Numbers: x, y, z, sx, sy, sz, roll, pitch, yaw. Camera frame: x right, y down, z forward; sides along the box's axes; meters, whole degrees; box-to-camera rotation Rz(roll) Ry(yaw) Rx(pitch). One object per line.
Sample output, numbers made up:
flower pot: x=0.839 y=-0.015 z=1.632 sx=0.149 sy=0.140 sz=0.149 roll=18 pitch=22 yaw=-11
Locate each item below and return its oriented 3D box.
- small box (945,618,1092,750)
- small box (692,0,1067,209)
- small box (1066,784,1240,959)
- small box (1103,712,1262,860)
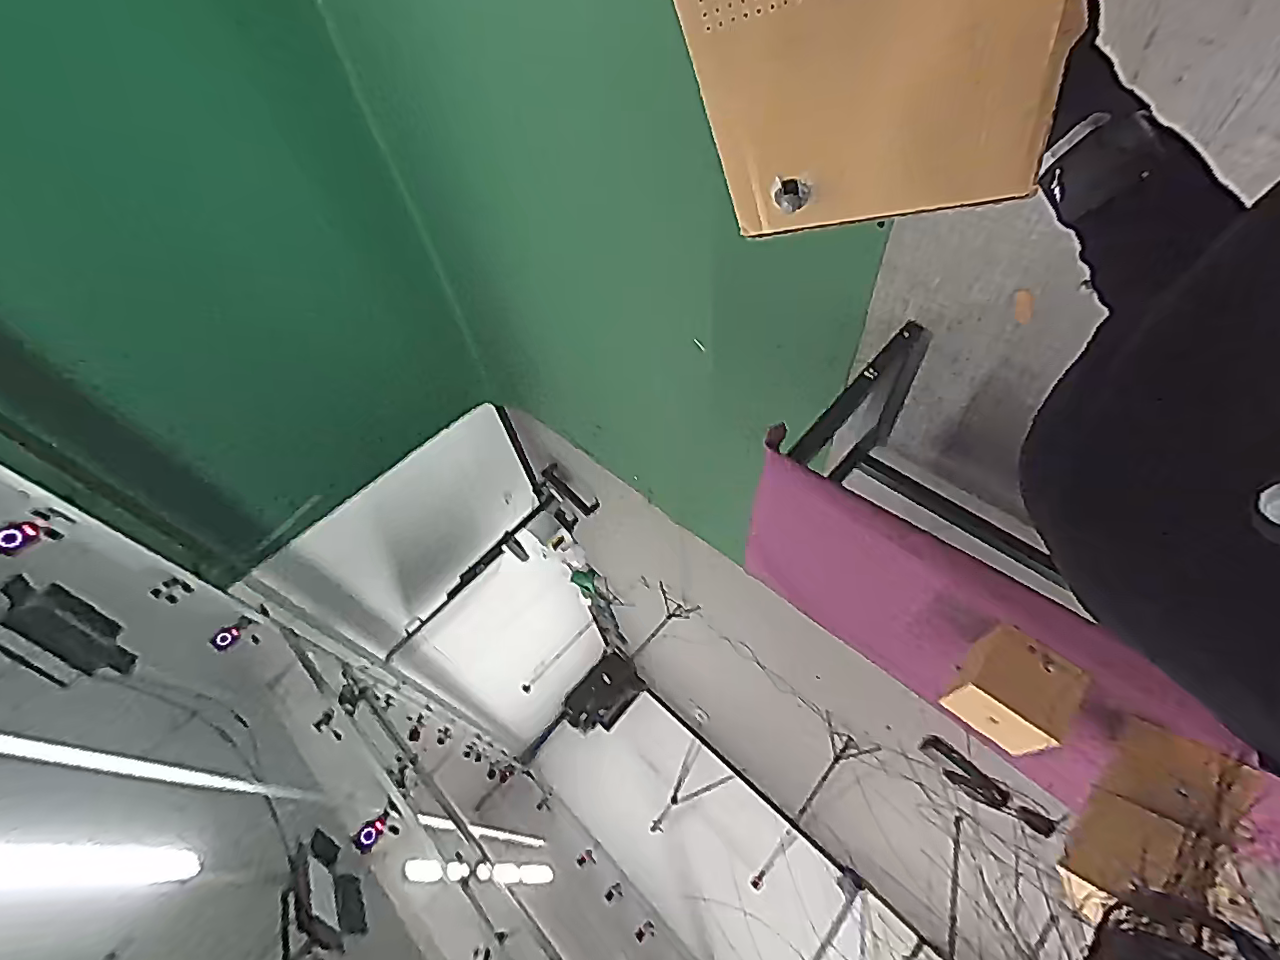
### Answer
small box: x=0.772 y=0.417 z=1.107 sx=0.168 sy=0.176 sz=0.179 roll=34 pitch=156 yaw=25
small box: x=0.134 y=-0.291 z=0.301 sx=0.179 sy=0.168 sz=0.176 roll=4 pitch=158 yaw=26
small box: x=0.867 y=0.662 z=0.911 sx=0.179 sy=0.176 sz=0.168 roll=10 pitch=138 yaw=58
small box: x=0.978 y=0.564 z=0.986 sx=0.179 sy=0.176 sz=0.168 roll=20 pitch=146 yaw=48
